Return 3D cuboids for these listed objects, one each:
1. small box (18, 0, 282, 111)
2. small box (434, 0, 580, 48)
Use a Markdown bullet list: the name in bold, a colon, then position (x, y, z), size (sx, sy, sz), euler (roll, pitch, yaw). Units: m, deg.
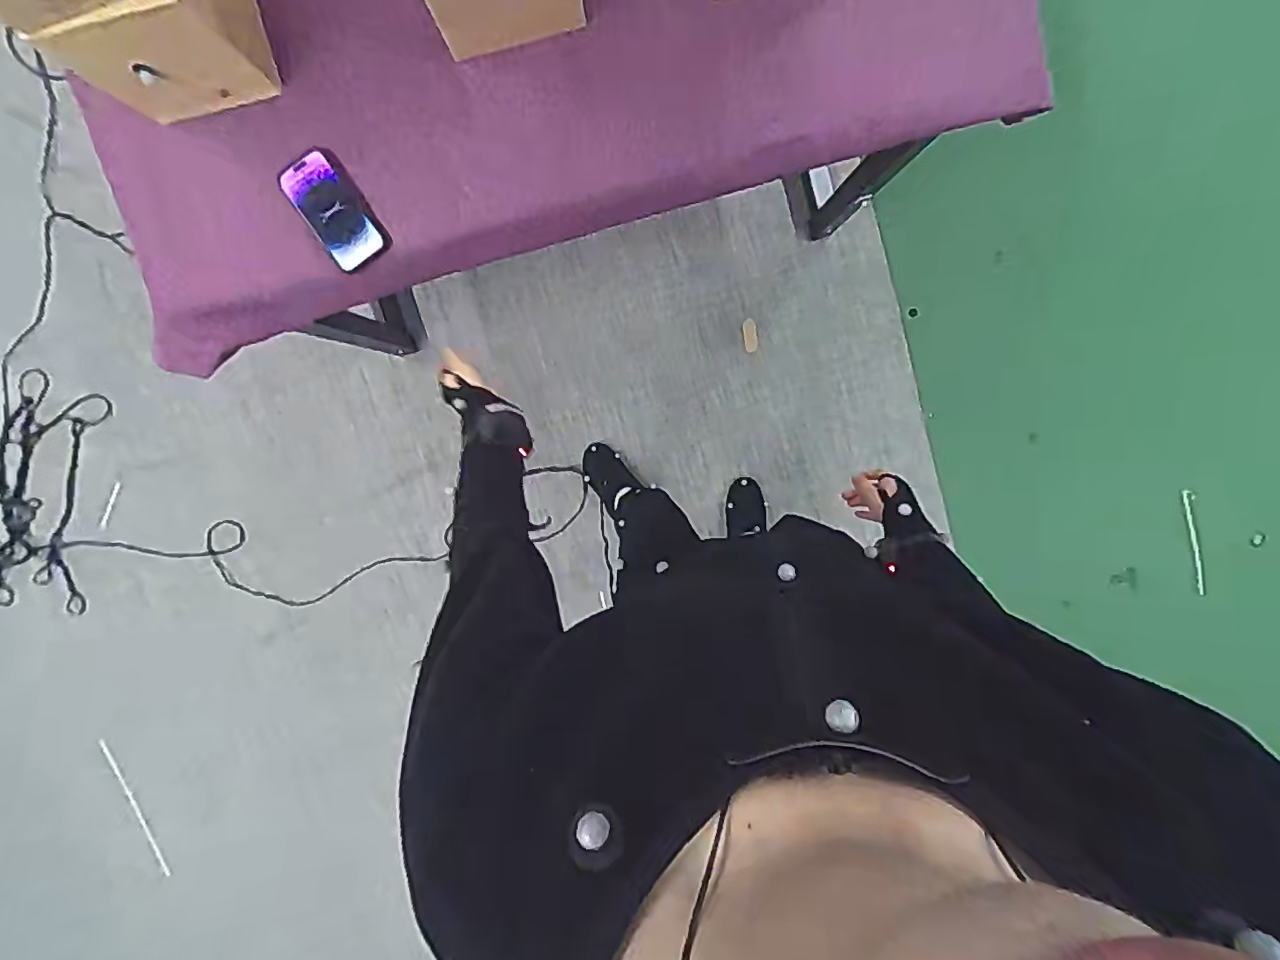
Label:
- **small box**: position (-0.547, -0.552, 0.604), size (0.168, 0.176, 0.179), euler (-14, 96, 2)
- **small box**: position (-0.164, -0.628, 0.590), size (0.179, 0.176, 0.168), euler (-14, 97, 2)
